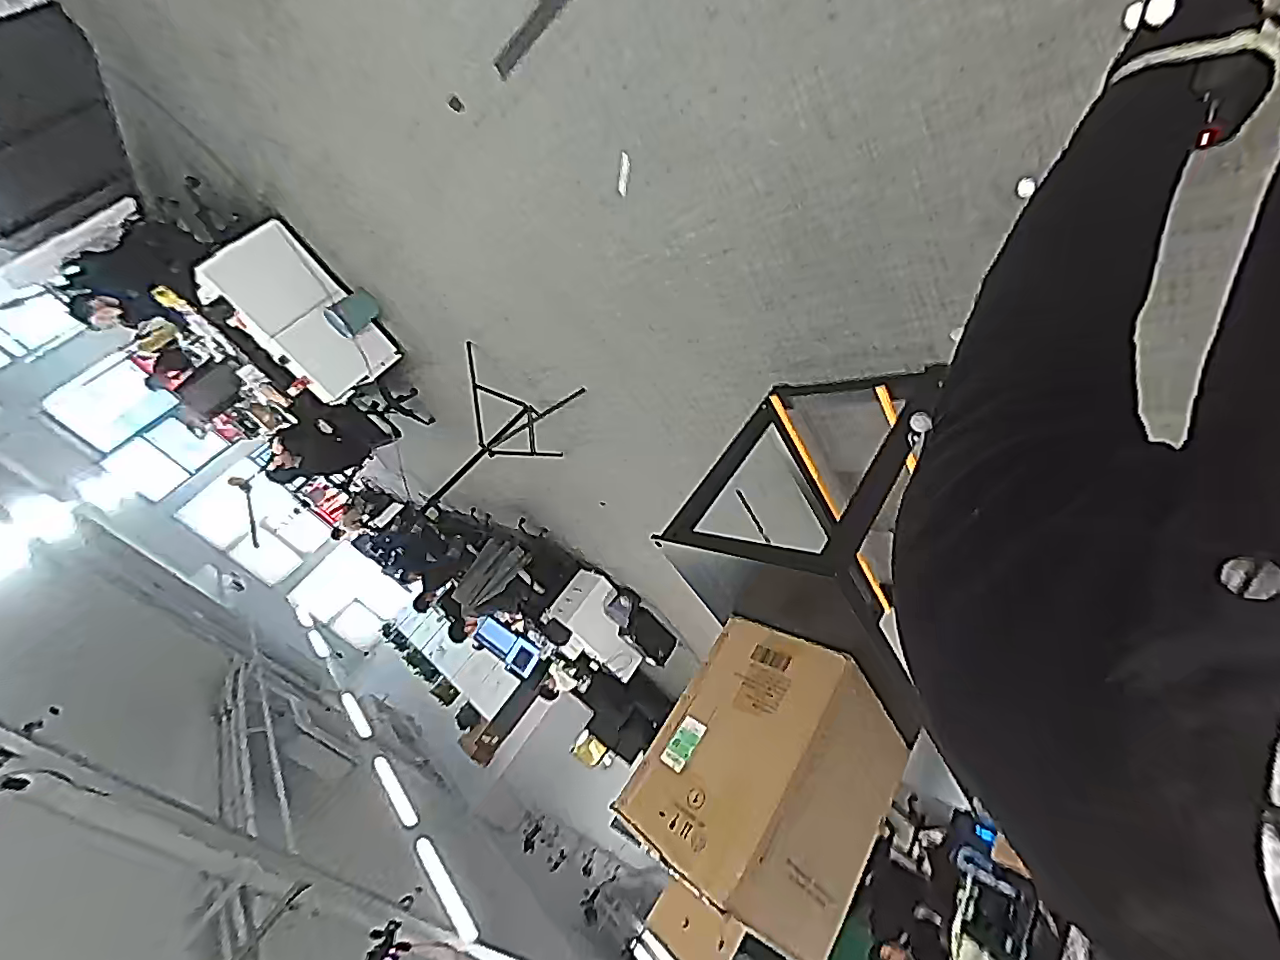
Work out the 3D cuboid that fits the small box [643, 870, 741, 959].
[{"bbox_3d":[0.149,1.213,1.464,0.179,0.176,0.168,9,141,51],"label":"small box"}]
